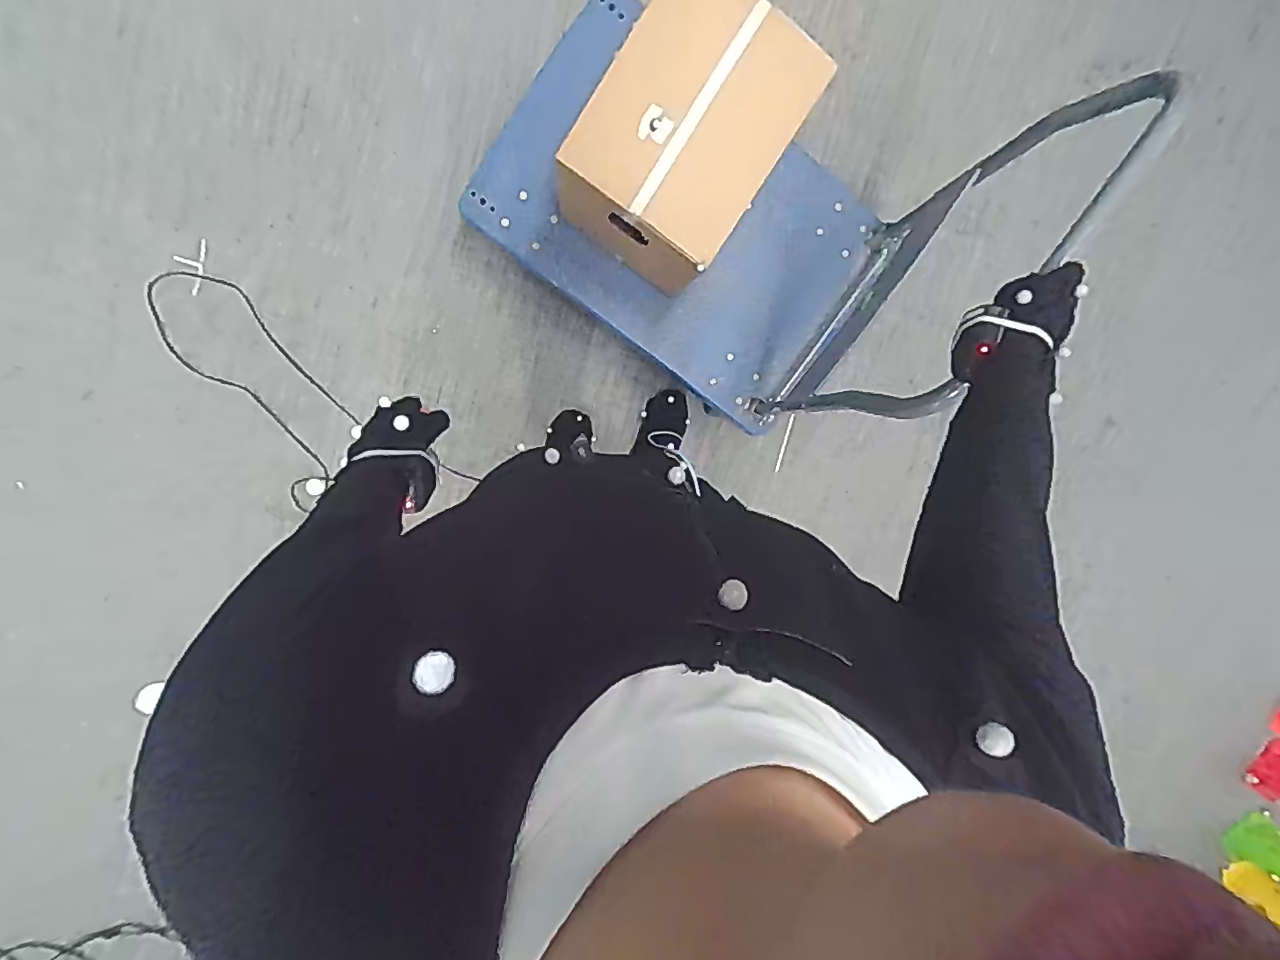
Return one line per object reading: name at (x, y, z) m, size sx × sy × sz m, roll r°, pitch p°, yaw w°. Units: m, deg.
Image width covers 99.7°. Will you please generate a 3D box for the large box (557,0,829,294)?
large box at (0.078, -0.639, 1.049) m, size 0.320 × 0.320 × 0.408 m, roll 33°, pitch 95°, yaw -9°
